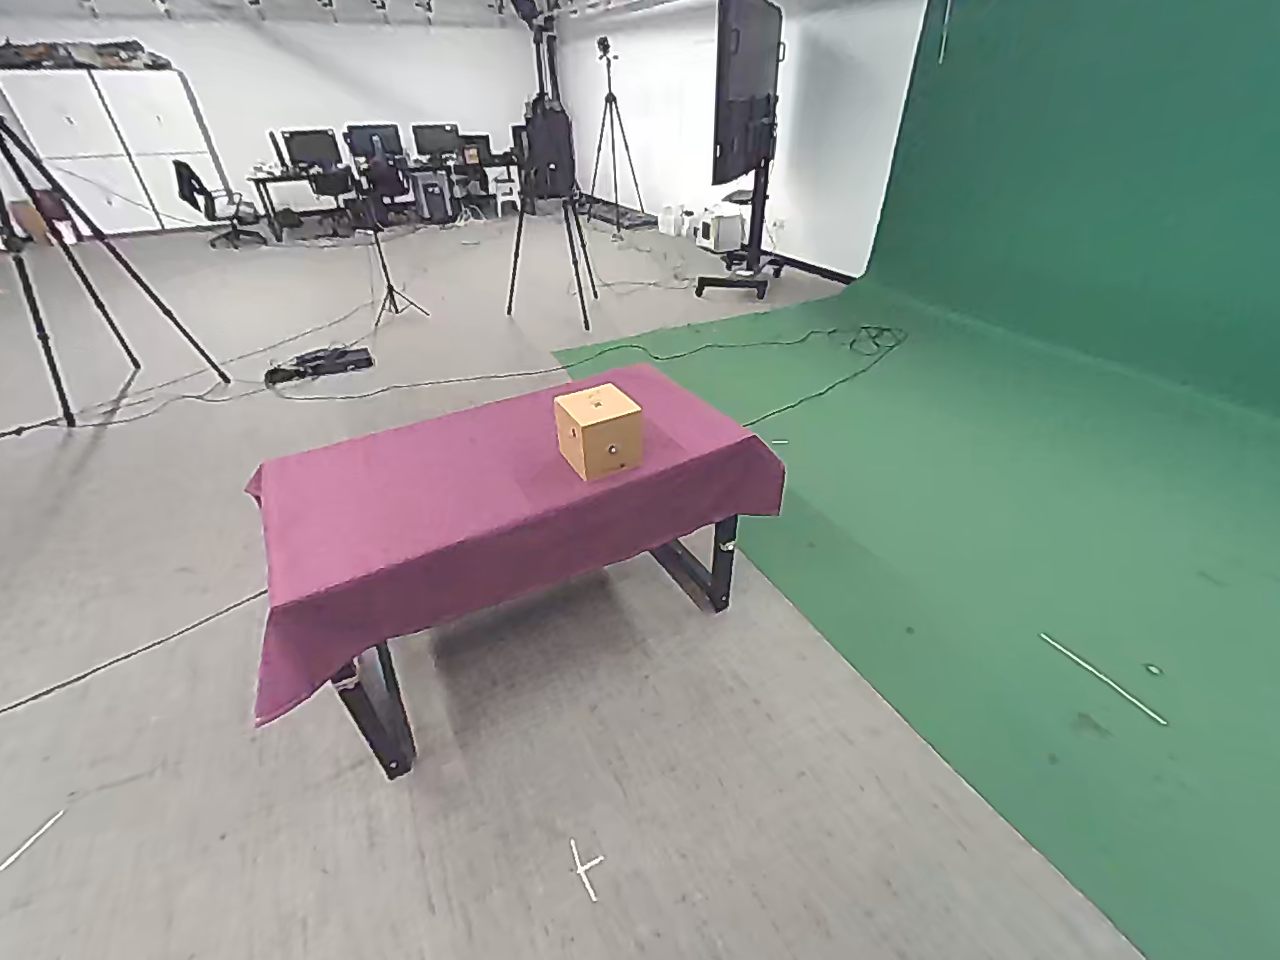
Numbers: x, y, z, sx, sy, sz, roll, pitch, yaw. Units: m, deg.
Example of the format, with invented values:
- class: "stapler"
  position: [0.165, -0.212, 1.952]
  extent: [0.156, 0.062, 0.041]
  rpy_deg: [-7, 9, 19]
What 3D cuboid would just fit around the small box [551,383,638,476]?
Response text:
- class: "small box"
  position: [-0.113, -0.126, 1.394]
  extent: [0.168, 0.176, 0.179]
  rpy_deg: [-19, 39, -23]
